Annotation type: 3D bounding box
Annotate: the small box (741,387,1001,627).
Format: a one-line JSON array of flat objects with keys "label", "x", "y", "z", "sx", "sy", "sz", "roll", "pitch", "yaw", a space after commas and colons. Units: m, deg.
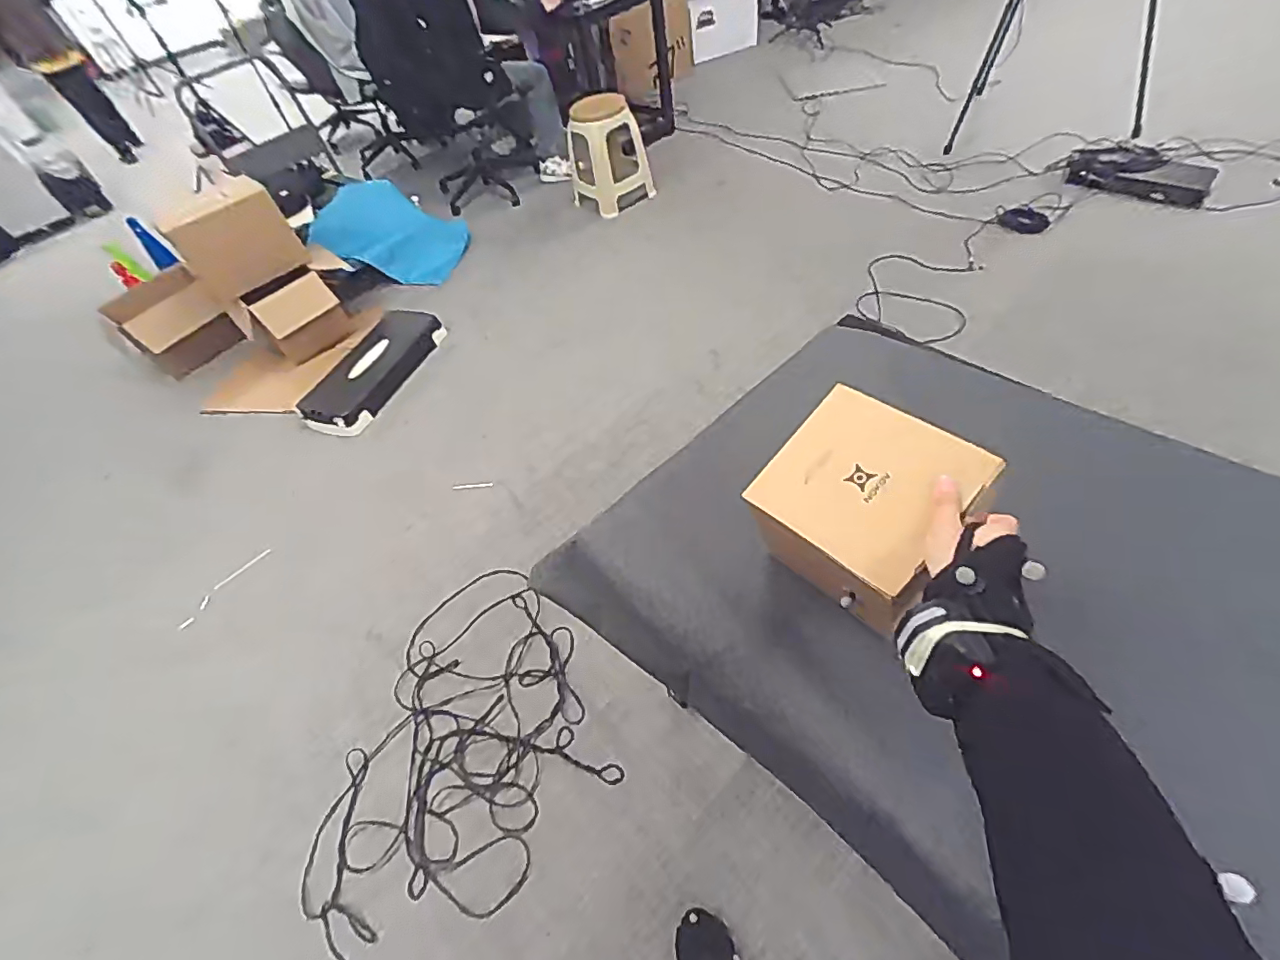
[{"label": "small box", "x": 0.241, "y": 0.038, "z": 0.585, "sx": 0.168, "sy": 0.176, "sz": 0.179, "roll": -47, "pitch": 54, "yaw": -9}]
